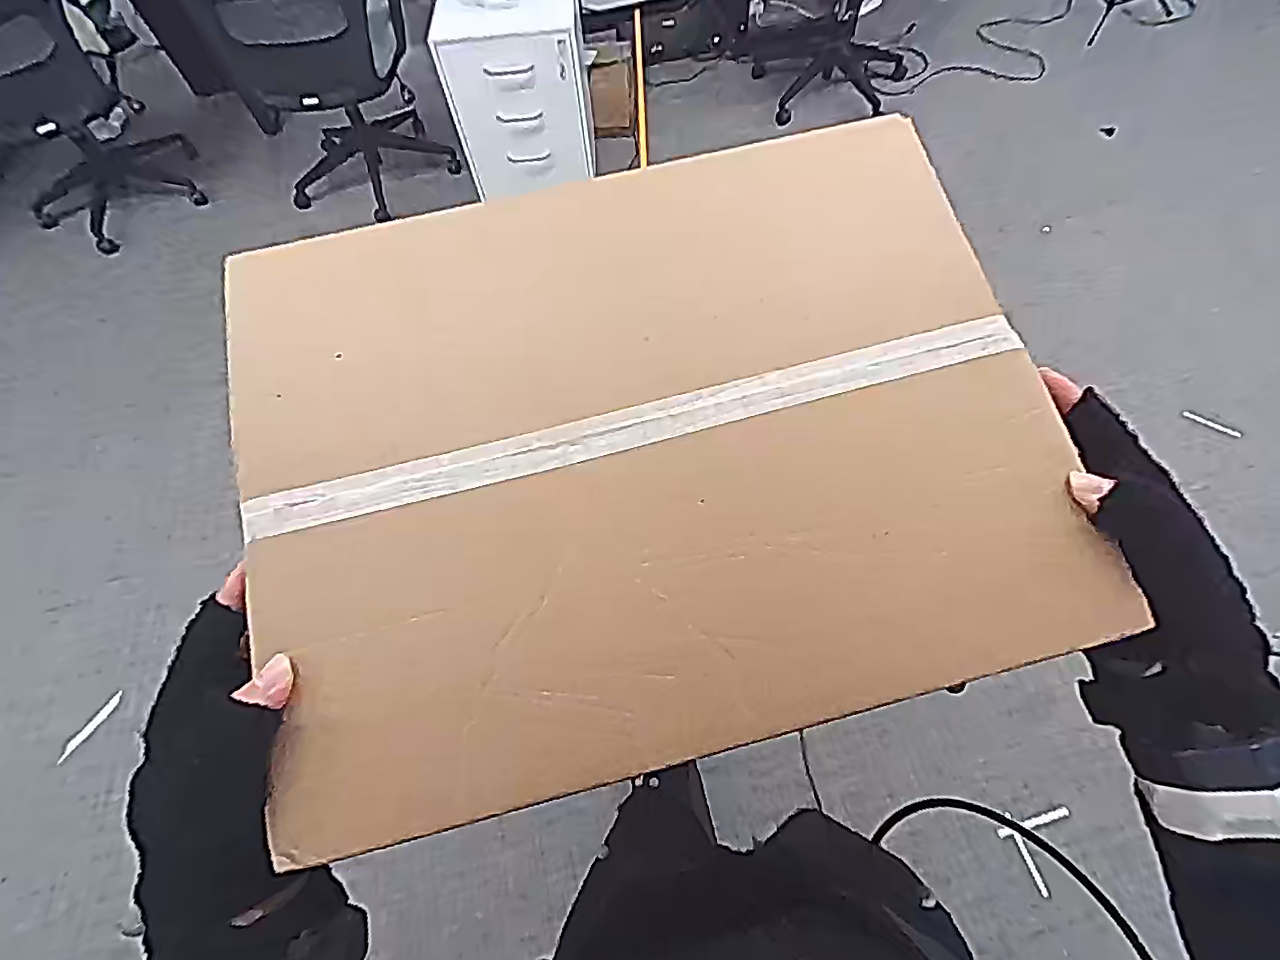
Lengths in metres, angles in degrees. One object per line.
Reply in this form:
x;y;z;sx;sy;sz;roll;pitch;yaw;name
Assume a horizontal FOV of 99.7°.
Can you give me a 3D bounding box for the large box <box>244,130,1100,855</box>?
0.002;0.011;0.433;0.408;0.320;0.320;-14;75;-3;large box
